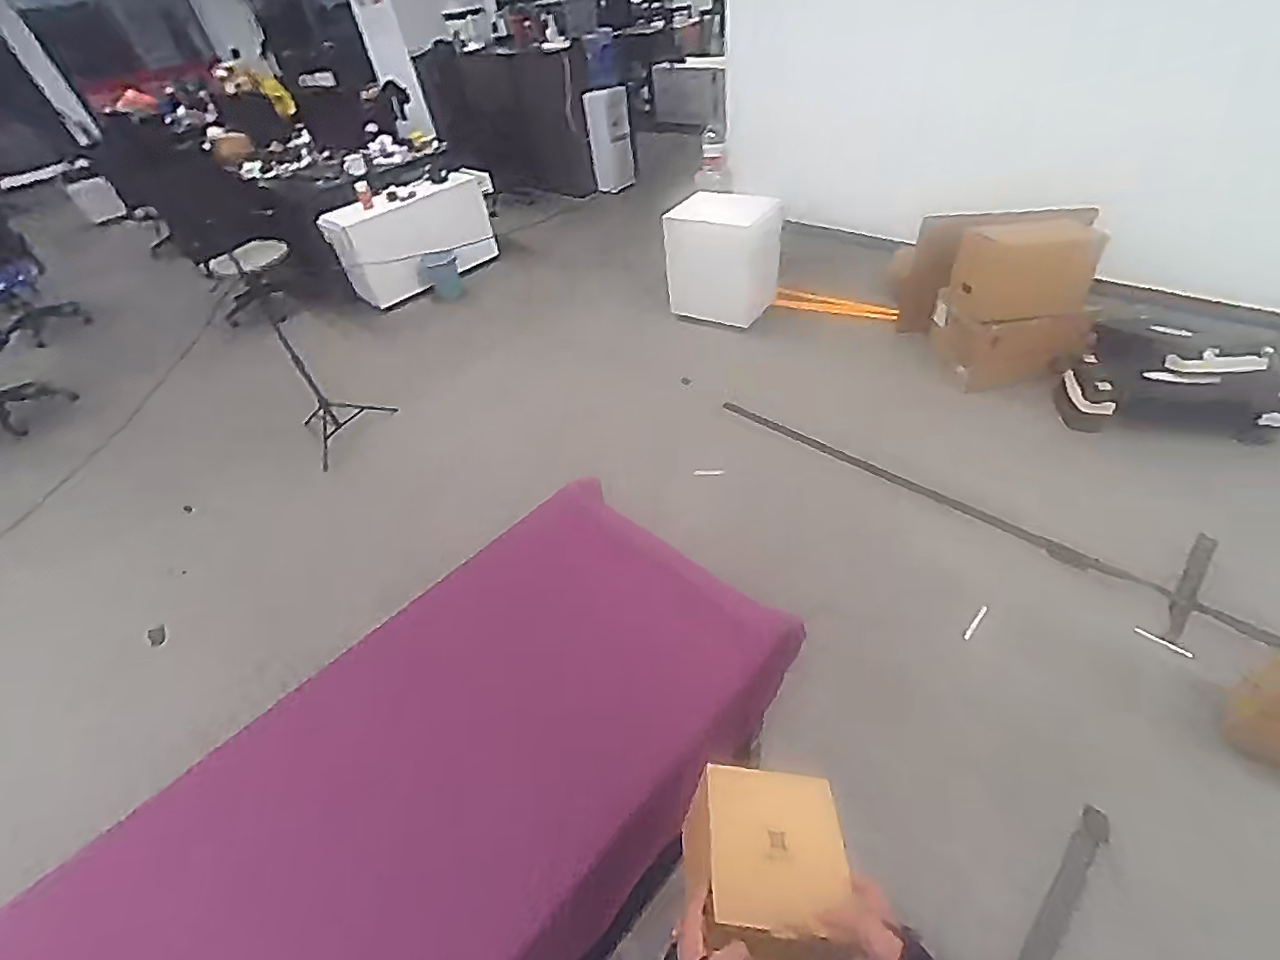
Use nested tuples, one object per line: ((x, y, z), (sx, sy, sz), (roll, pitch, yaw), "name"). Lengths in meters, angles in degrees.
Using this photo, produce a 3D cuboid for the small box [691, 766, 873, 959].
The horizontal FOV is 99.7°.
((0.160, 0.499, 0.680), (0.168, 0.176, 0.179), (8, 34, -1), "small box")
